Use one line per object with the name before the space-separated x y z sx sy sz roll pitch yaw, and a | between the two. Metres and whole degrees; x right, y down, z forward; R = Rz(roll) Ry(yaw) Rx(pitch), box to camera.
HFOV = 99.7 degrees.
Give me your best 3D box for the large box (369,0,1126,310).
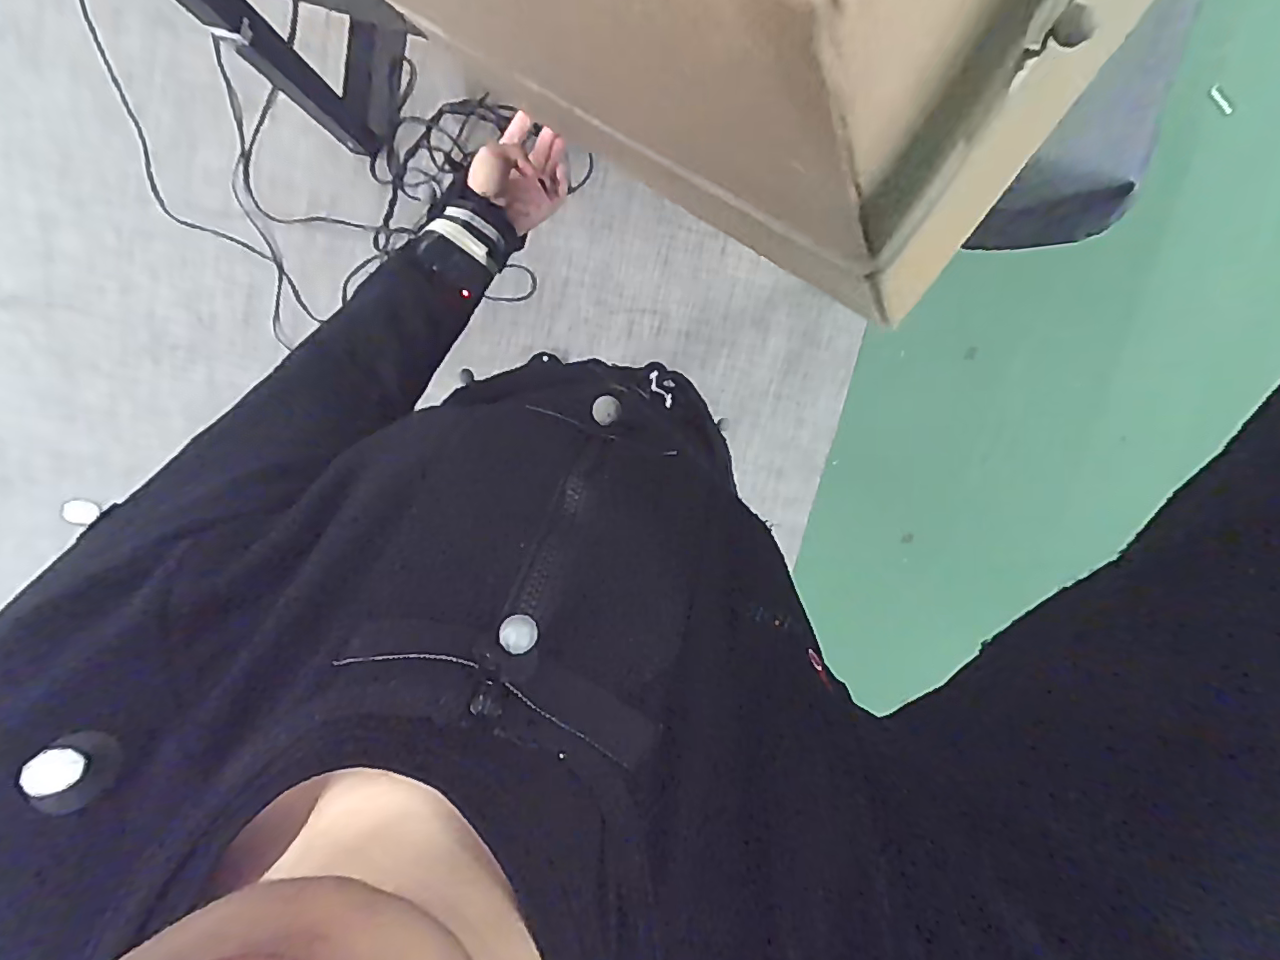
large box | 0.047 -0.339 0.272 0.408 0.320 0.320 38 109 20
